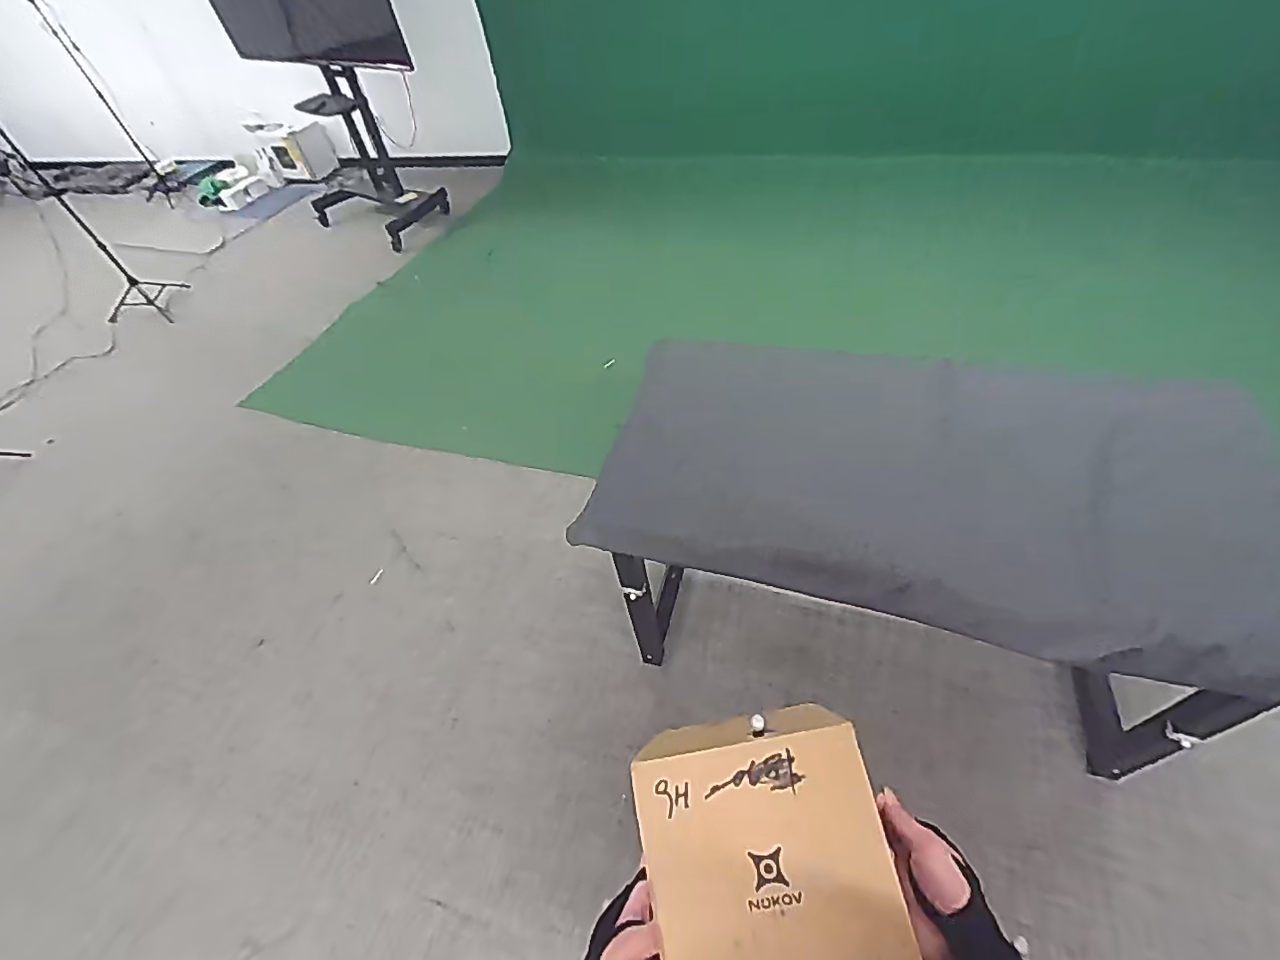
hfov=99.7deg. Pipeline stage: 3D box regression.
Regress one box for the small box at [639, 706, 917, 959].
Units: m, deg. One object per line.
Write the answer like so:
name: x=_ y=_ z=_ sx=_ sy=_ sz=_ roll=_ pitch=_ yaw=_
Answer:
small box: x=0.104 y=0.301 z=0.449 sx=0.168 sy=0.176 sz=0.179 roll=-13 pitch=72 yaw=4
